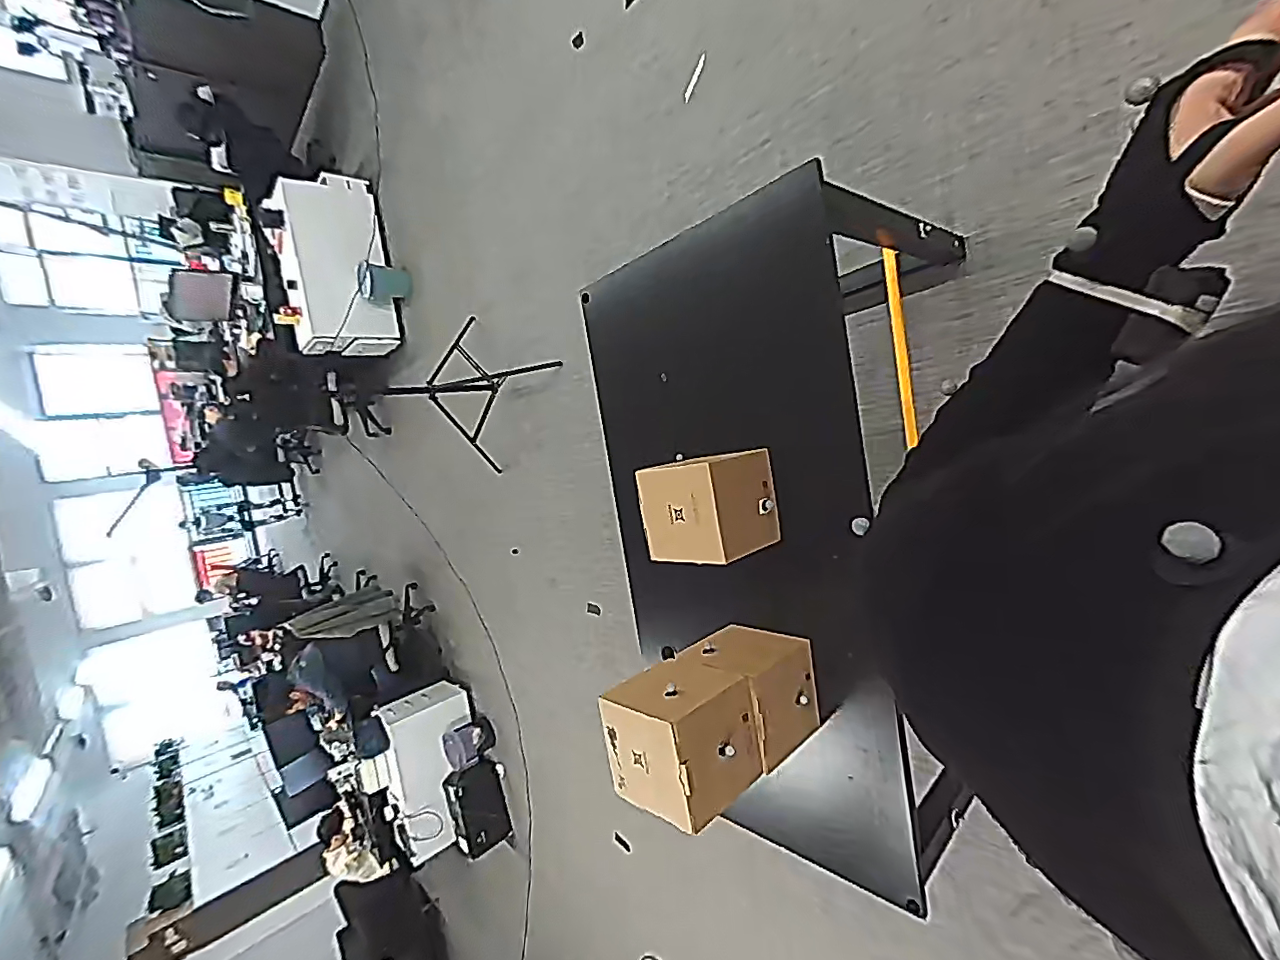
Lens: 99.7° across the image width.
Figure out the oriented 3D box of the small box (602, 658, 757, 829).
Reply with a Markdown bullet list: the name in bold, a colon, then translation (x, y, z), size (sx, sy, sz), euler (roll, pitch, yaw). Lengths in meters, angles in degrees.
- **small box**: translation (0.069, 0.400, 0.861), size (0.179, 0.176, 0.168), euler (-8, 93, 48)

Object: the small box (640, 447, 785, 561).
- **small box**: translation (0.128, 0.039, 0.960), size (0.179, 0.176, 0.168), euler (-7, 95, 48)

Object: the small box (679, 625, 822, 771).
- **small box**: translation (0.196, 0.371, 0.961), size (0.179, 0.176, 0.168), euler (-3, 97, 49)
